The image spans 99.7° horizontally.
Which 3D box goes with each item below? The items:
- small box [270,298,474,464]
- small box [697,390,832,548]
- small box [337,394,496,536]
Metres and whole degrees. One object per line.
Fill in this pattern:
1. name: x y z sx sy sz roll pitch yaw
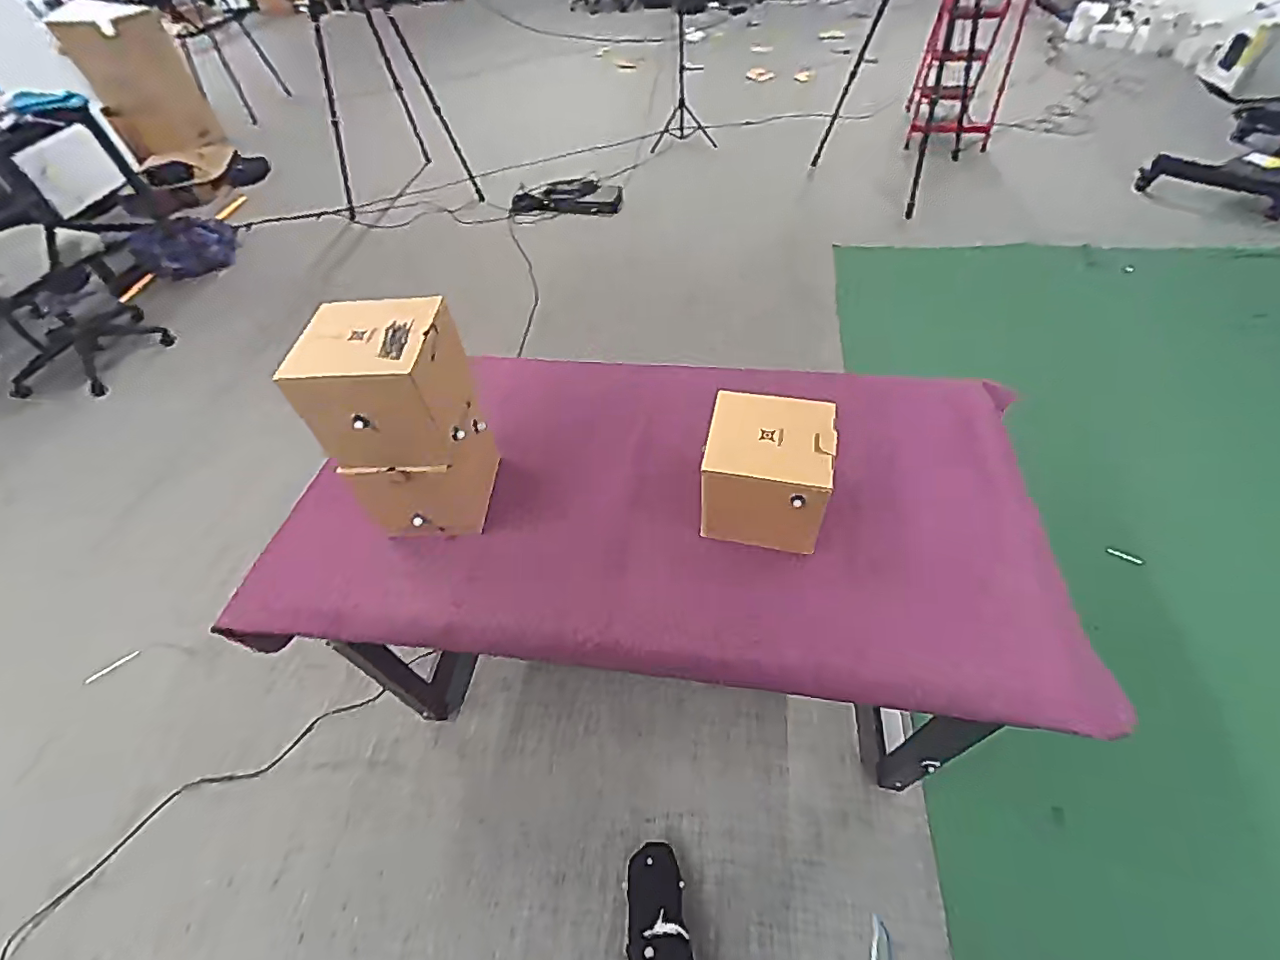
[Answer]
1. small box: -0.353 -0.135 0.757 0.179 0.176 0.168 1 49 5
2. small box: 0.186 -0.015 0.825 0.179 0.176 0.168 8 53 12
3. small box: -0.347 -0.027 0.885 0.168 0.176 0.179 -2 51 5
